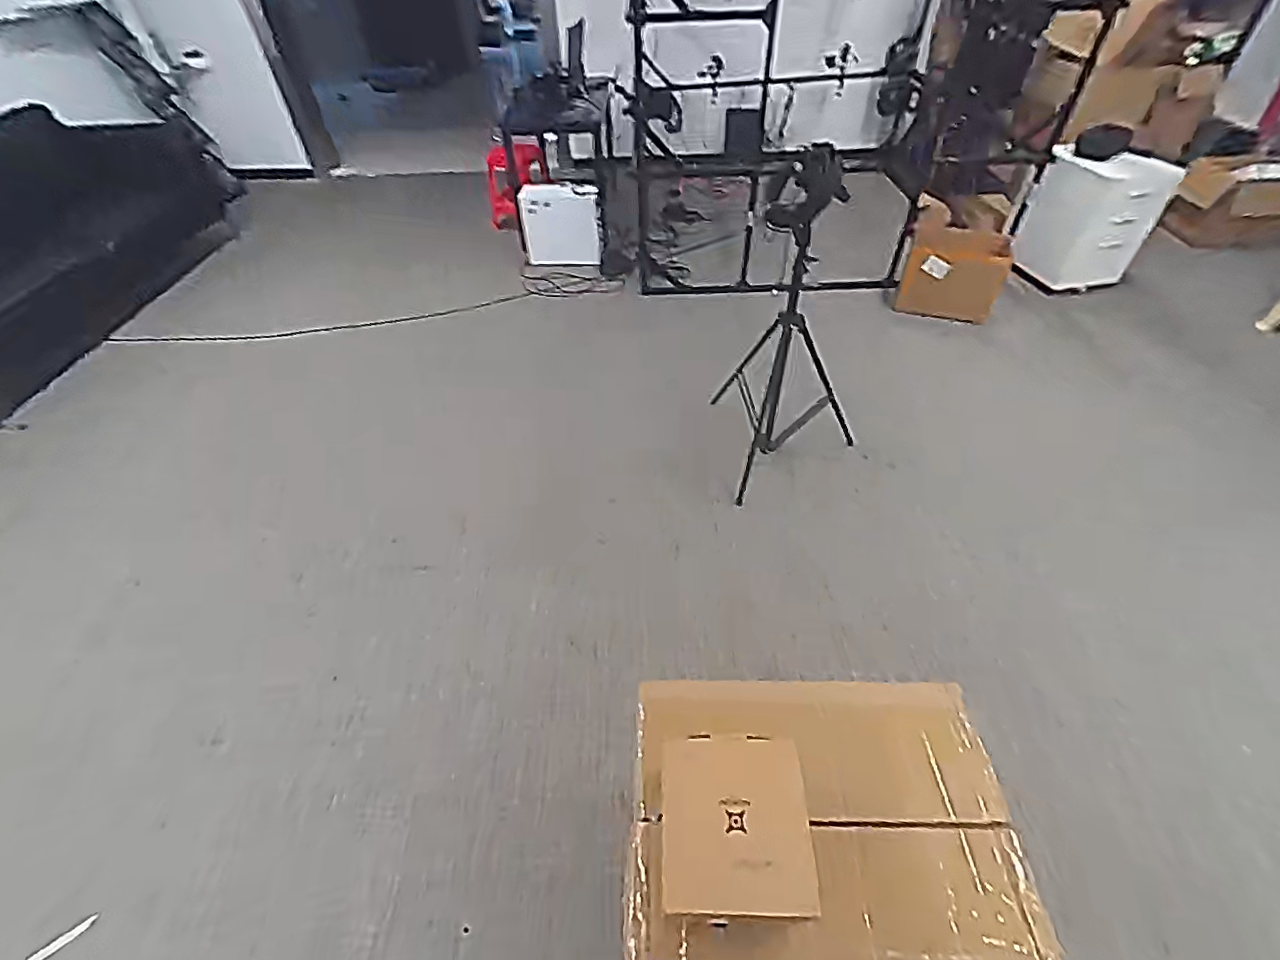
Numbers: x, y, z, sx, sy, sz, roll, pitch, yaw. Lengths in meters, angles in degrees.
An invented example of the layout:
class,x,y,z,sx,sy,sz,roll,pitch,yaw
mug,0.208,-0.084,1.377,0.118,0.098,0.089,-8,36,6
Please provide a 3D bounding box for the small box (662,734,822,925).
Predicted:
class,x,y,z,sx,sy,sz,roll,pitch,yaw
small box,0.111,0.436,0.674,0.168,0.176,0.179,-1,49,2
